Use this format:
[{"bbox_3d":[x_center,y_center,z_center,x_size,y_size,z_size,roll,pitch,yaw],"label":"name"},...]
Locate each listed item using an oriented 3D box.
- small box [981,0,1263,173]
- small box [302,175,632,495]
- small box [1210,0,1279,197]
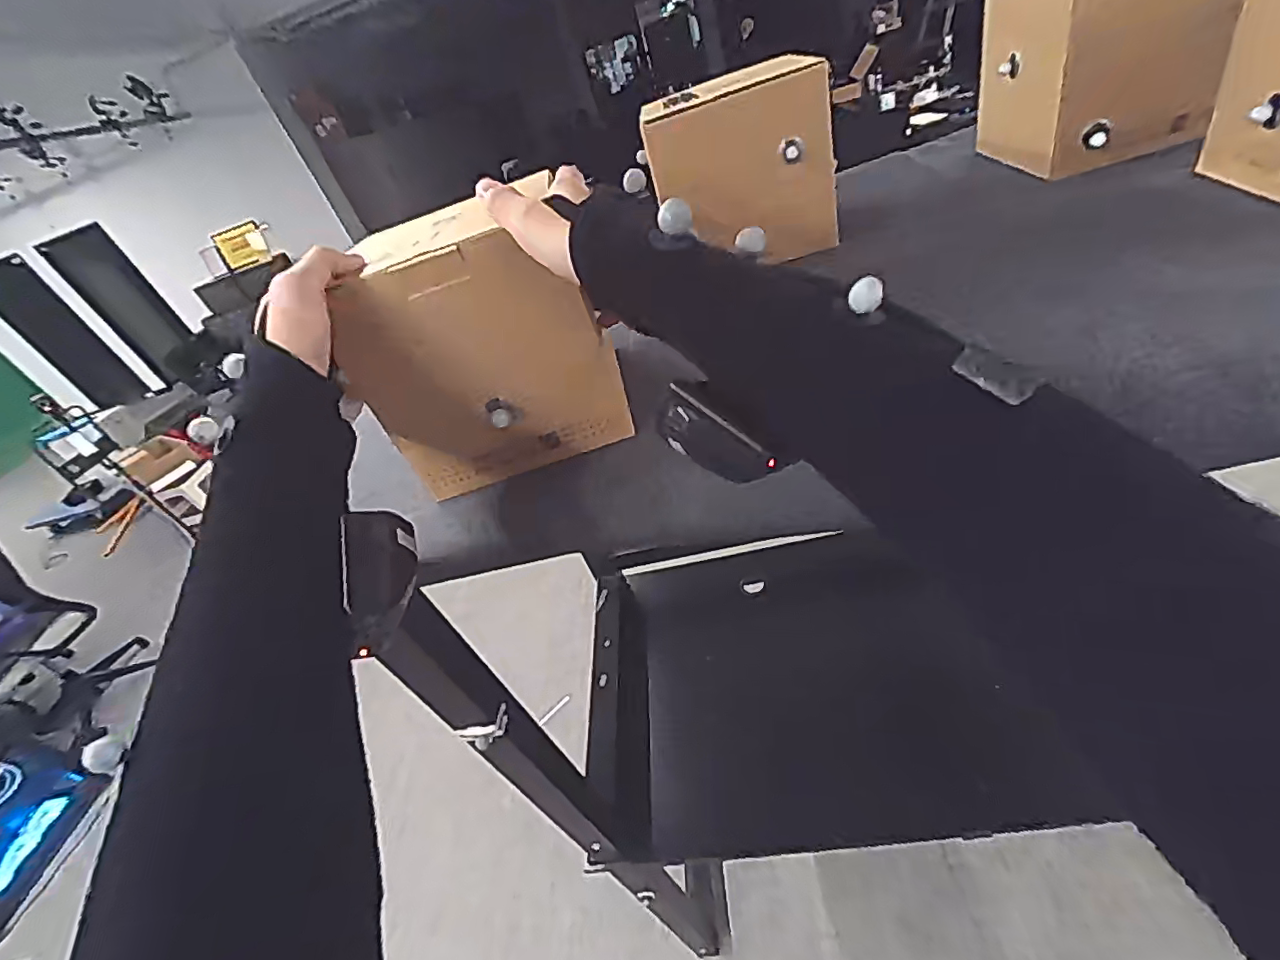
[{"bbox_3d":[0.462,-0.425,0.532,0.168,0.176,0.179,-12,37,13],"label":"small box"},{"bbox_3d":[-0.115,-0.118,0.434,0.168,0.176,0.179,-20,36,6],"label":"small box"},{"bbox_3d":[0.516,-0.283,0.323,0.179,0.176,0.168,-8,37,20],"label":"small box"}]
